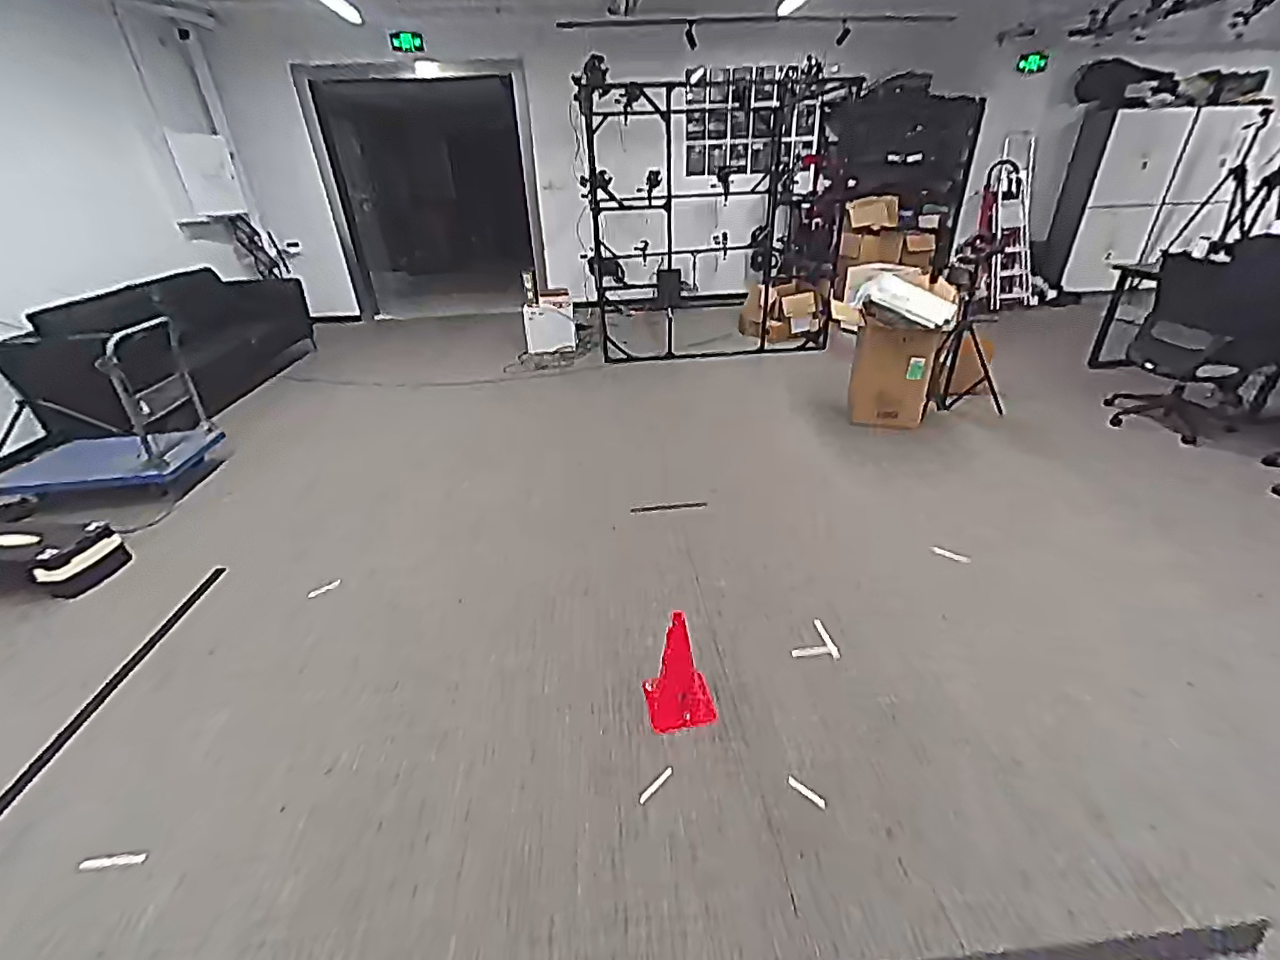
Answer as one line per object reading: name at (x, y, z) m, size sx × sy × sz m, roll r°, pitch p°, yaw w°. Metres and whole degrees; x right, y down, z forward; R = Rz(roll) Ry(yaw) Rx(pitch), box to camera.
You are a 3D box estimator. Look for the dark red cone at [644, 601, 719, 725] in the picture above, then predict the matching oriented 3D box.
dark red cone at (0.117, 0.510, 1.566) m, size 0.202 × 0.394 × 0.201 m, roll -8°, pitch 31°, yaw -10°
